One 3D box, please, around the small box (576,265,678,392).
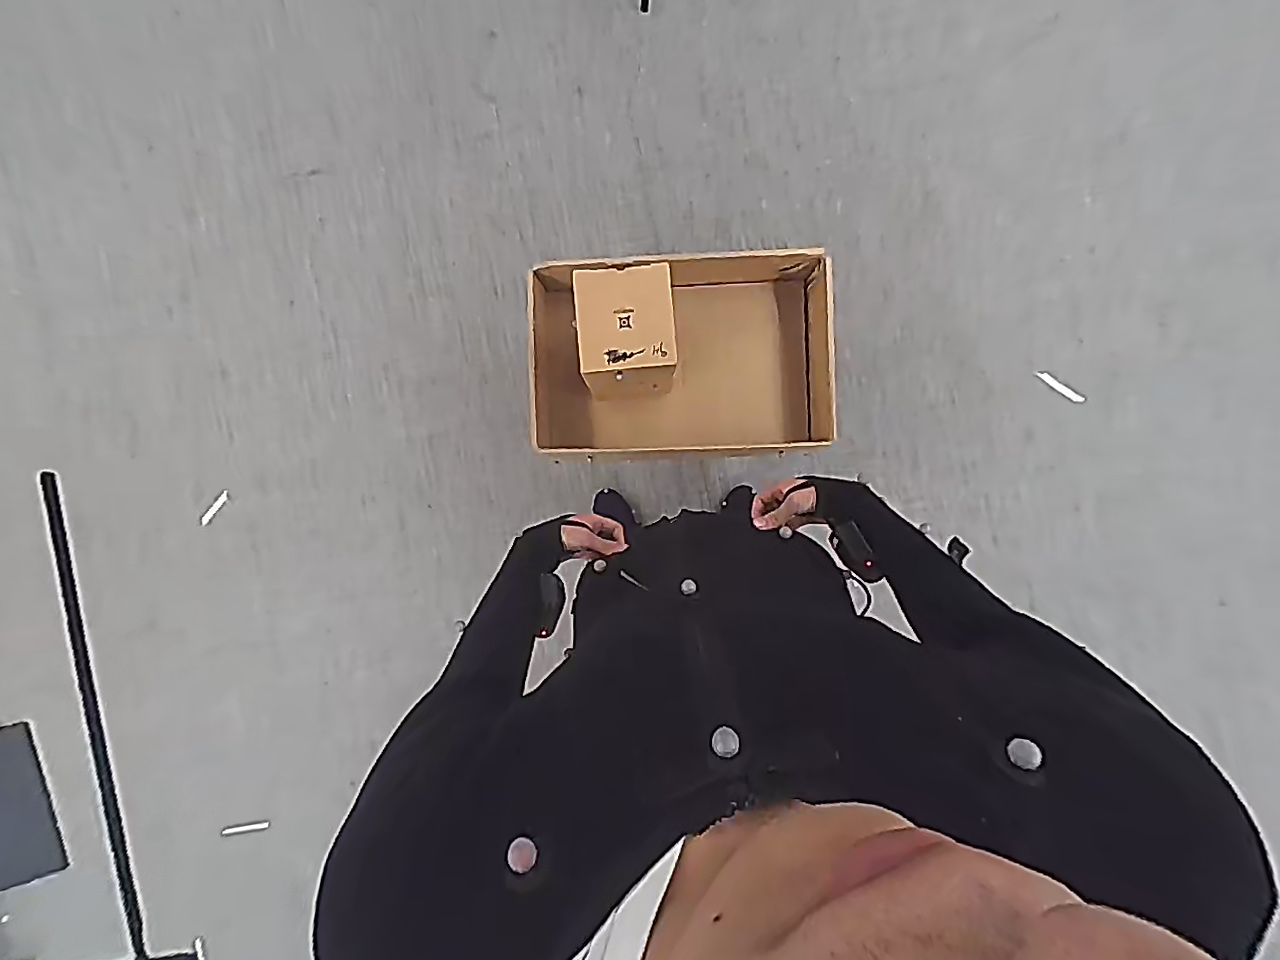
[{"bbox_3d":[-0.023,-0.267,0.984,0.168,0.176,0.179,-5,89,1],"label":"small box"}]
